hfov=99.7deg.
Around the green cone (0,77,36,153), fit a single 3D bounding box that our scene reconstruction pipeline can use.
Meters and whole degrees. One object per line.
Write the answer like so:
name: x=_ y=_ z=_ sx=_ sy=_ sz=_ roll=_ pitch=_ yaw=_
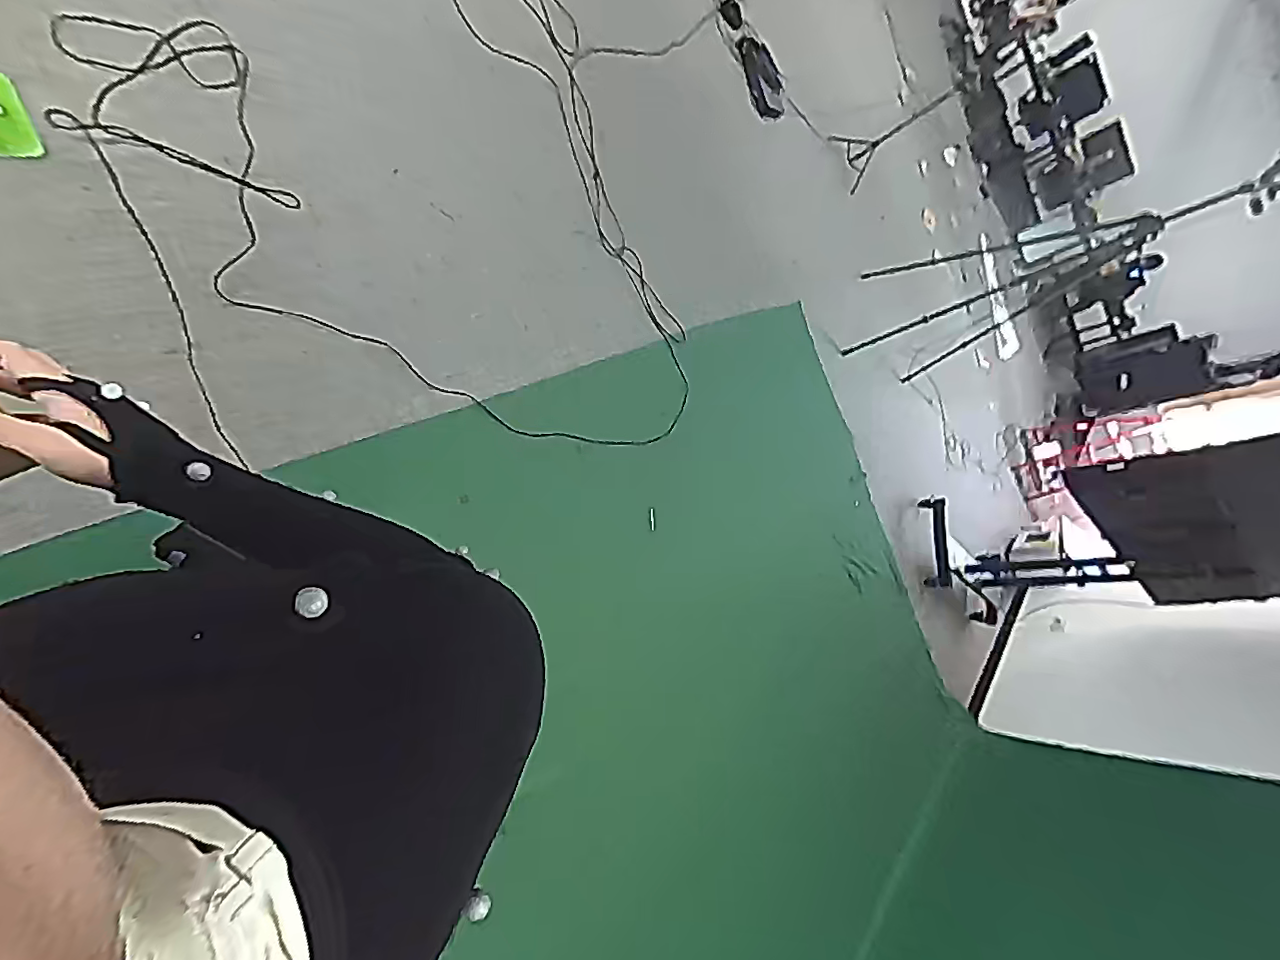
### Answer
green cone: x=-1.362 y=-0.832 z=1.030 sx=0.202 sy=0.368 sz=0.200 roll=-29 pitch=99 yaw=-41
